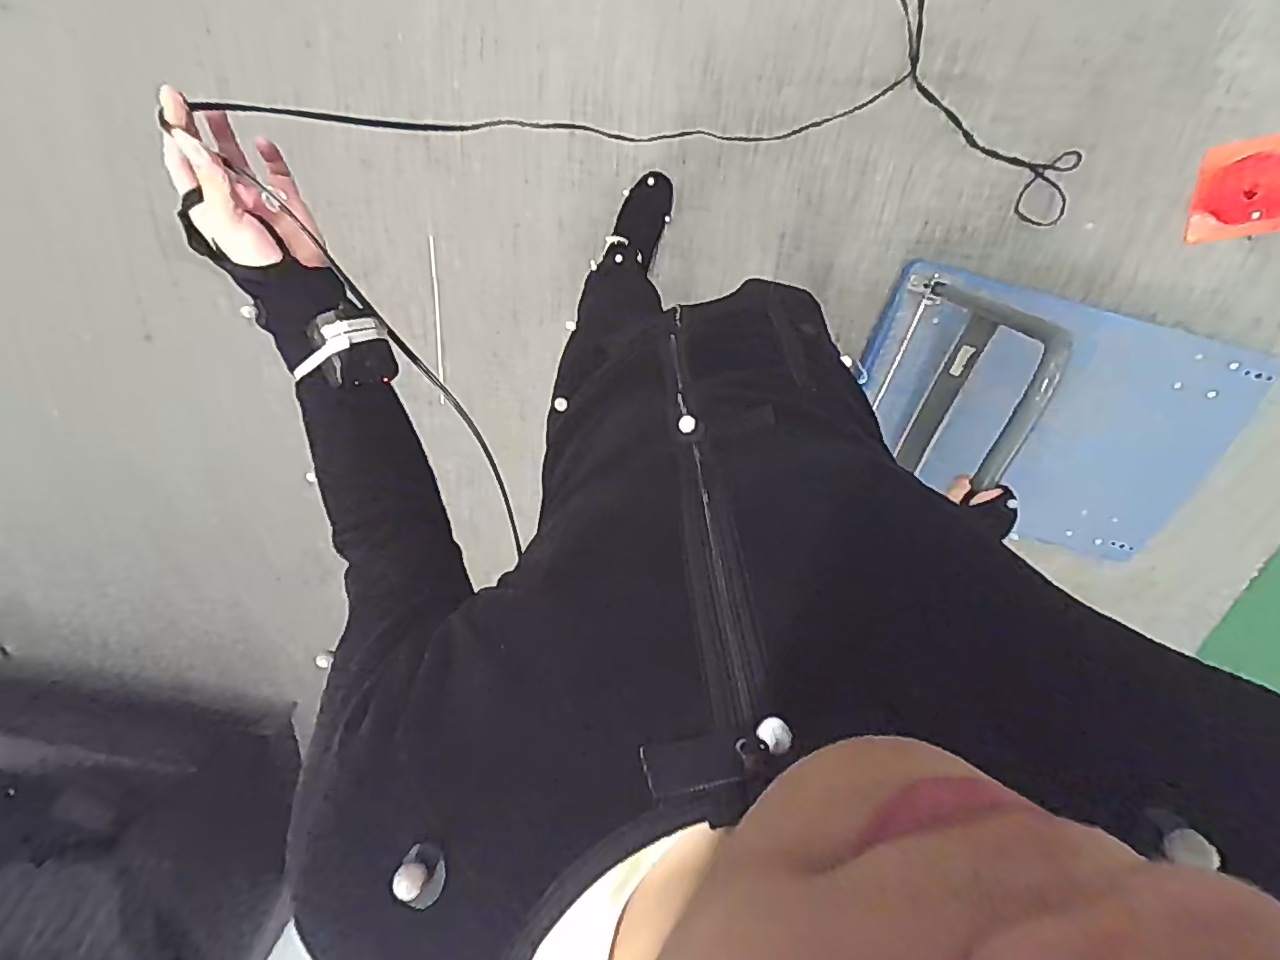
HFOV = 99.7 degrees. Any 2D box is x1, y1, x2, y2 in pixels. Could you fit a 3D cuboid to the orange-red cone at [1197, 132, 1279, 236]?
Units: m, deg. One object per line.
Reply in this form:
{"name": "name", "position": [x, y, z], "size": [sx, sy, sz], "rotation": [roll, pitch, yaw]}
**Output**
{"name": "orange-red cone", "position": [1.346, -0.583, 1.044], "size": [0.198, 0.360, 0.199], "rotation": [-5, 114, 9]}
